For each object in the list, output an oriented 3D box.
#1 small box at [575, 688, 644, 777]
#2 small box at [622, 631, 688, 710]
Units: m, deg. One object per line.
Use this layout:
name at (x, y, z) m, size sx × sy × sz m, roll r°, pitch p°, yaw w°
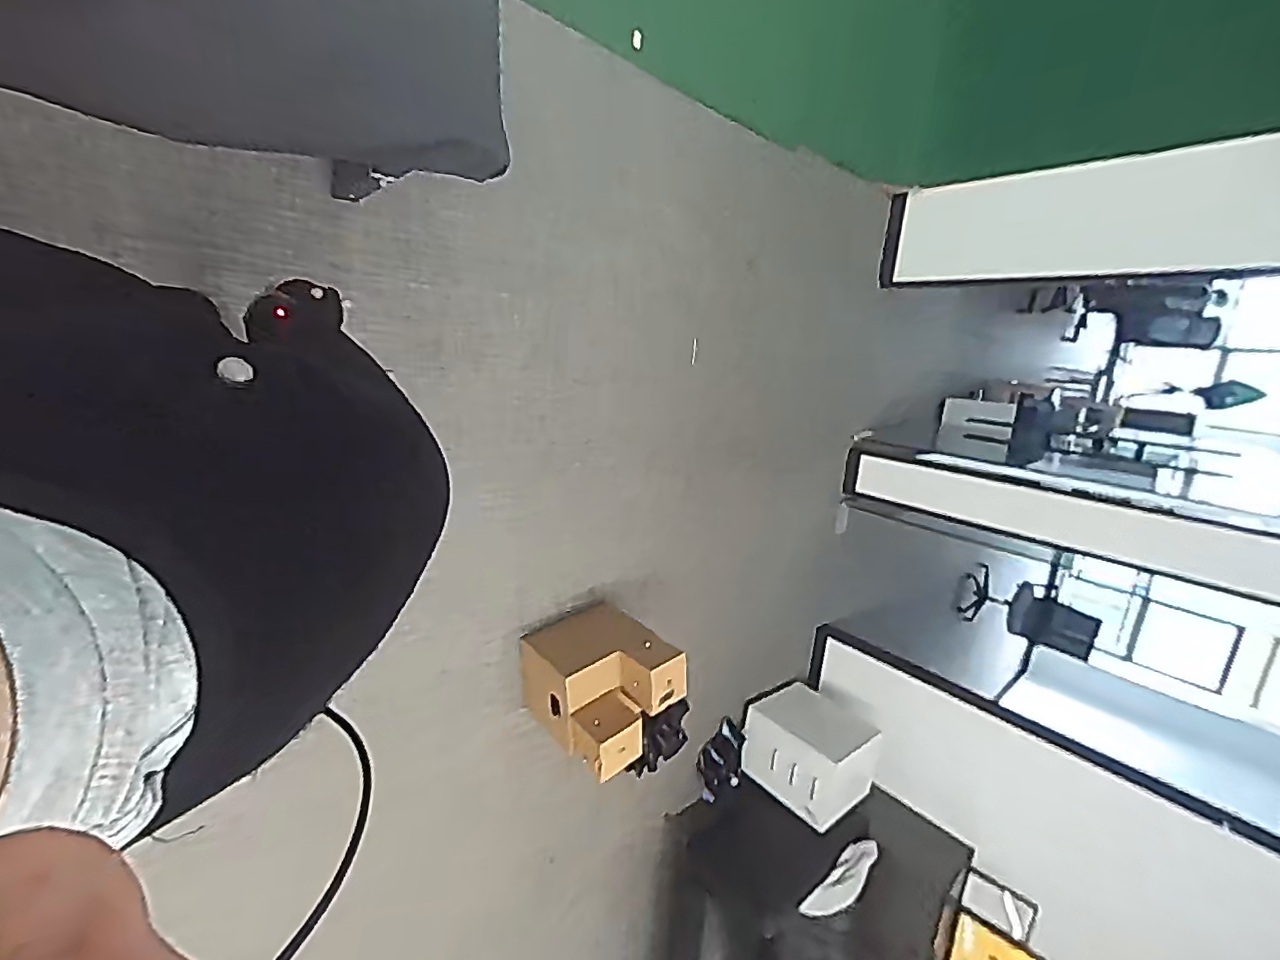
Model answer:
small box at (-0.106, 0.841, 1.820) m, size 0.179 × 0.176 × 0.168 m, roll -20°, pitch 119°, yaw -38°
small box at (0.052, 0.666, 1.907) m, size 0.168 × 0.176 × 0.179 m, roll -14°, pitch 109°, yaw -39°
